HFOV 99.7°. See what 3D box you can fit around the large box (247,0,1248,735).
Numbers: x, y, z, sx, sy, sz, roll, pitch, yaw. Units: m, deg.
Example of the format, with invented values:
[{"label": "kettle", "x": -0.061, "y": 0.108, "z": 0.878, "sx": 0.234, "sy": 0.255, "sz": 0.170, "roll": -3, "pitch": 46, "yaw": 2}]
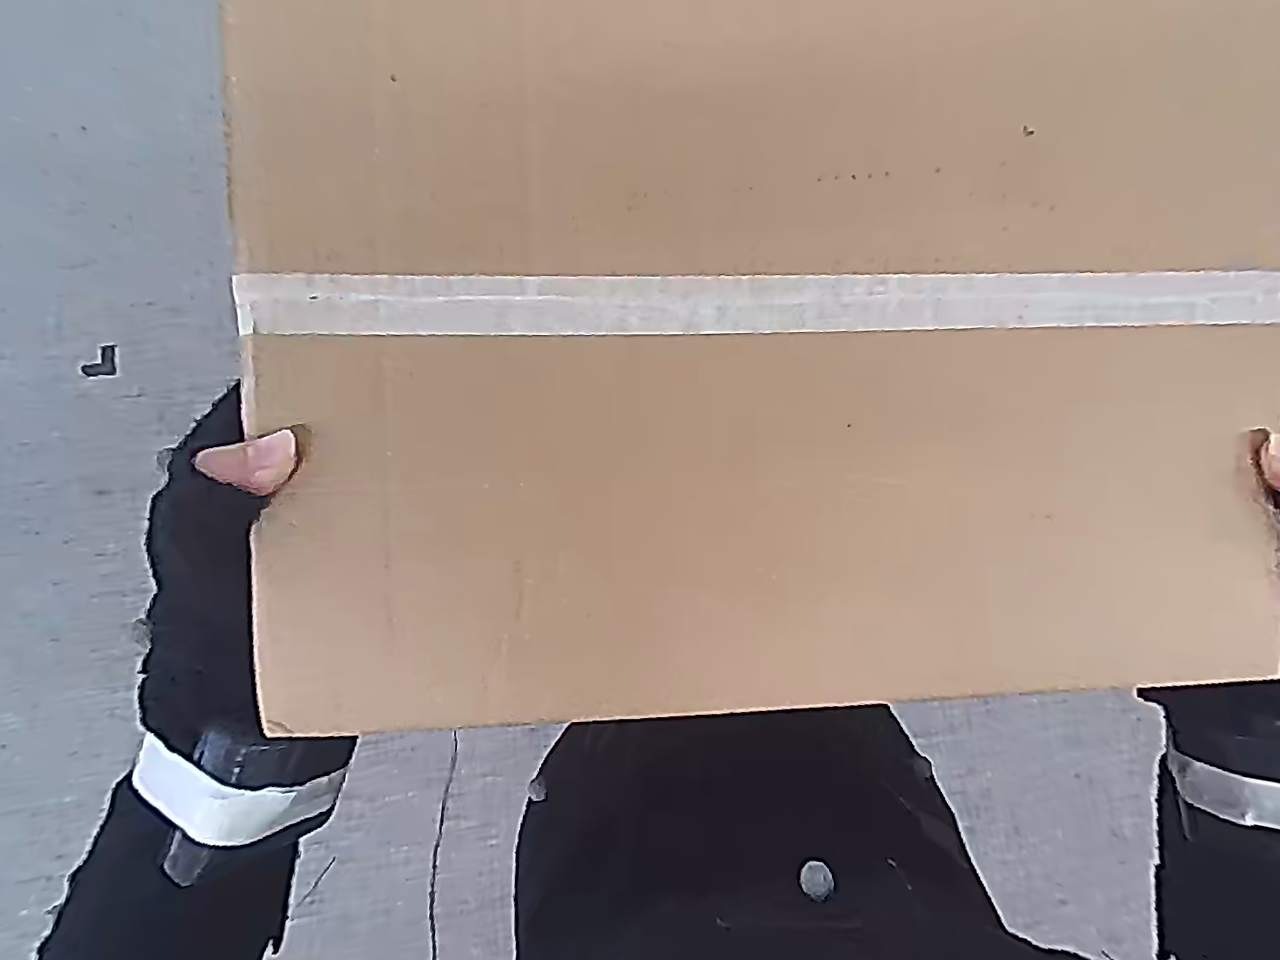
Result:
[{"label": "large box", "x": 0.048, "y": -0.068, "z": 0.366, "sx": 0.408, "sy": 0.320, "sz": 0.320, "roll": -2, "pitch": 92, "yaw": -5}]
